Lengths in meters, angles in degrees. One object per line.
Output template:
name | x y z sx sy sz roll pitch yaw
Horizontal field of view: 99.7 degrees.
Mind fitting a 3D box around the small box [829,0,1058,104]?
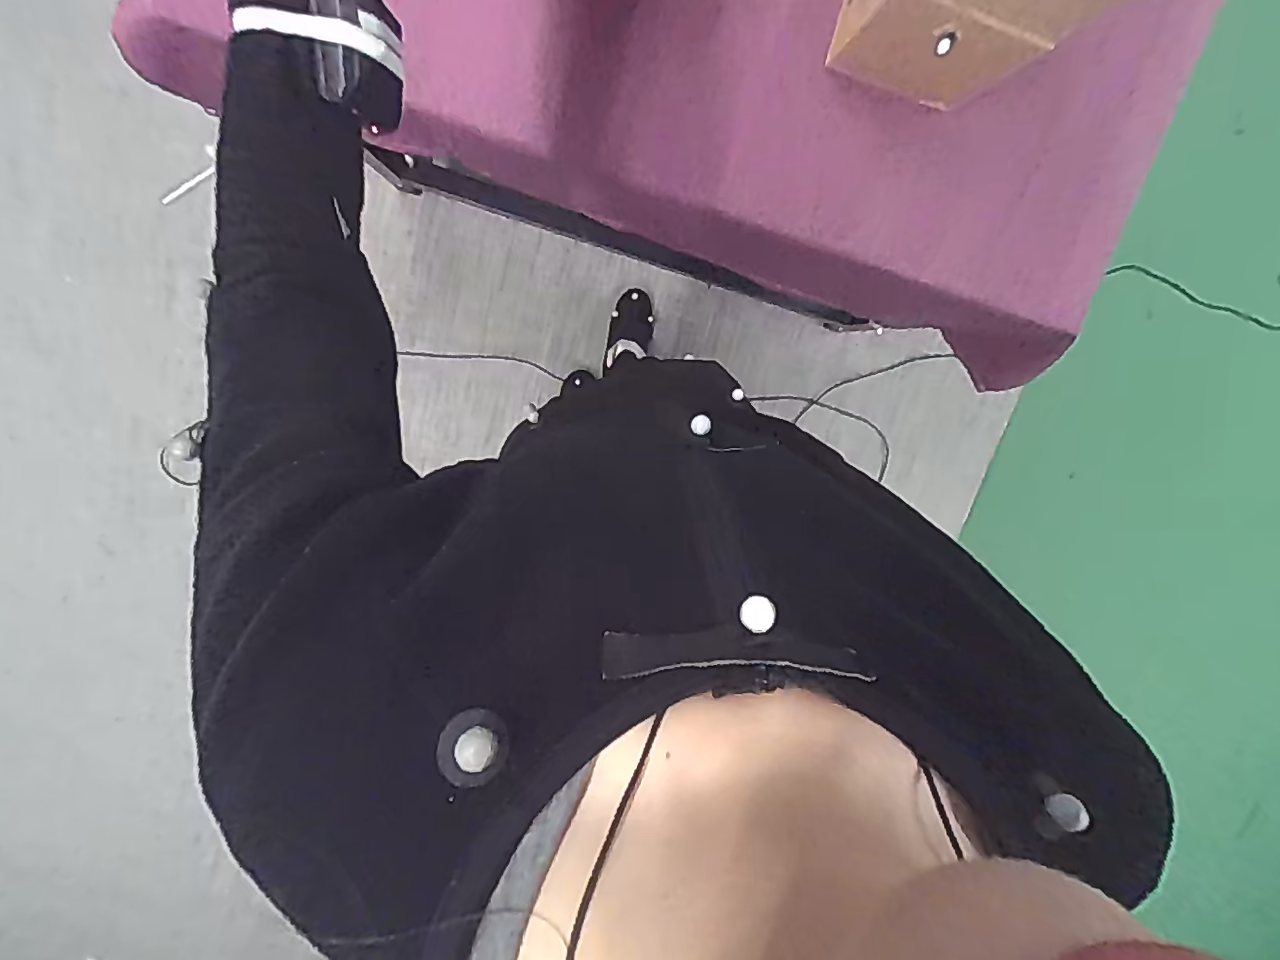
small box | 0.333 -0.545 0.579 0.179 0.176 0.168 14 103 -10

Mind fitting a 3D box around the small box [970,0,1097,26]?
small box | 0.350 -0.507 0.421 0.179 0.176 0.168 13 103 -8
